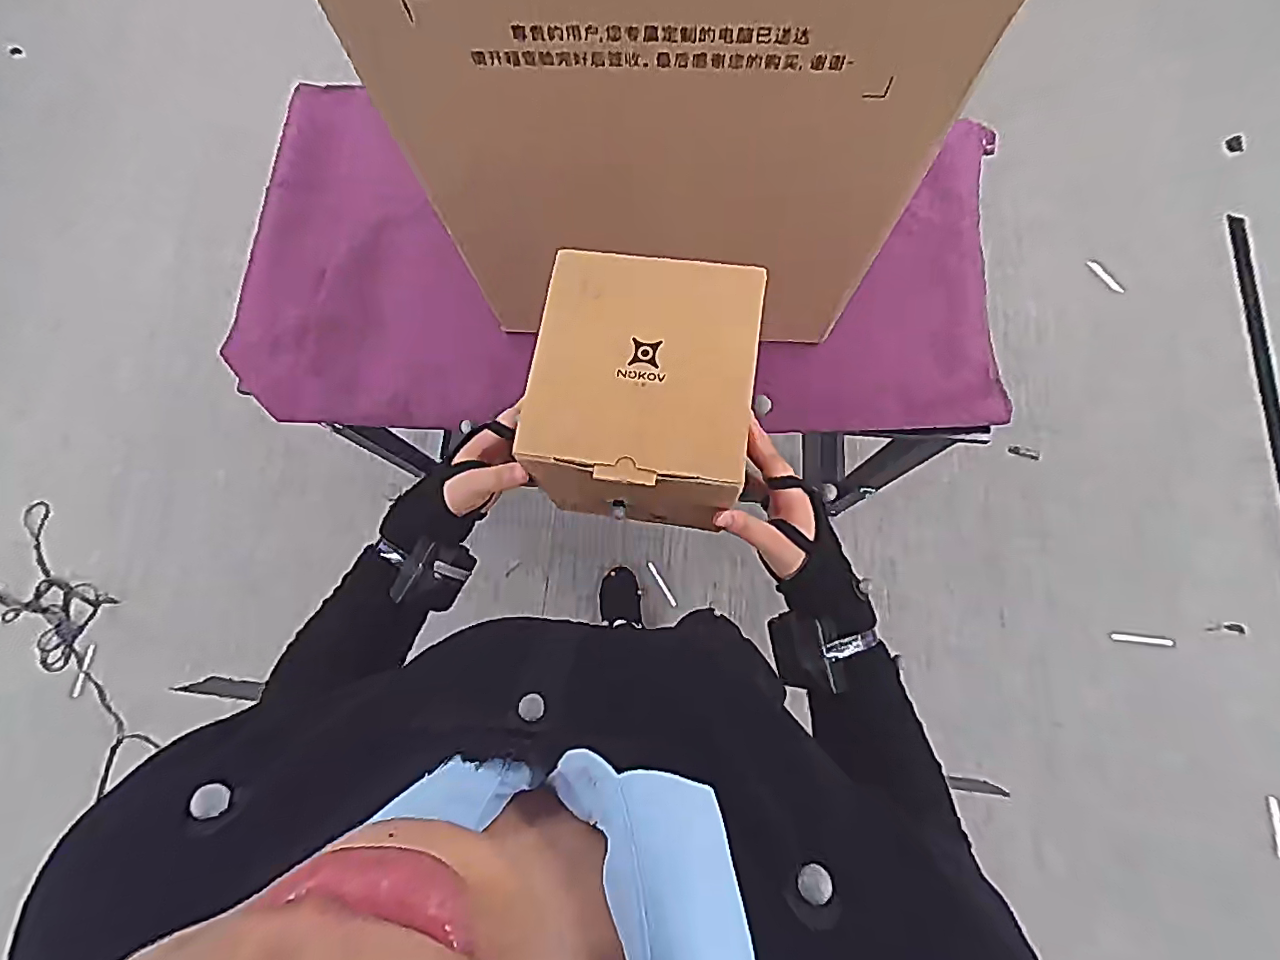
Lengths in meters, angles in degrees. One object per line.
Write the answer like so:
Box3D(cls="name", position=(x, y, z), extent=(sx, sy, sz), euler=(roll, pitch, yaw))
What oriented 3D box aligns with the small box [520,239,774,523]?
Box3D(cls="small box", position=(0.012, -0.072, 0.467), extent=(0.168, 0.176, 0.179), euler=(7, 75, 5))
